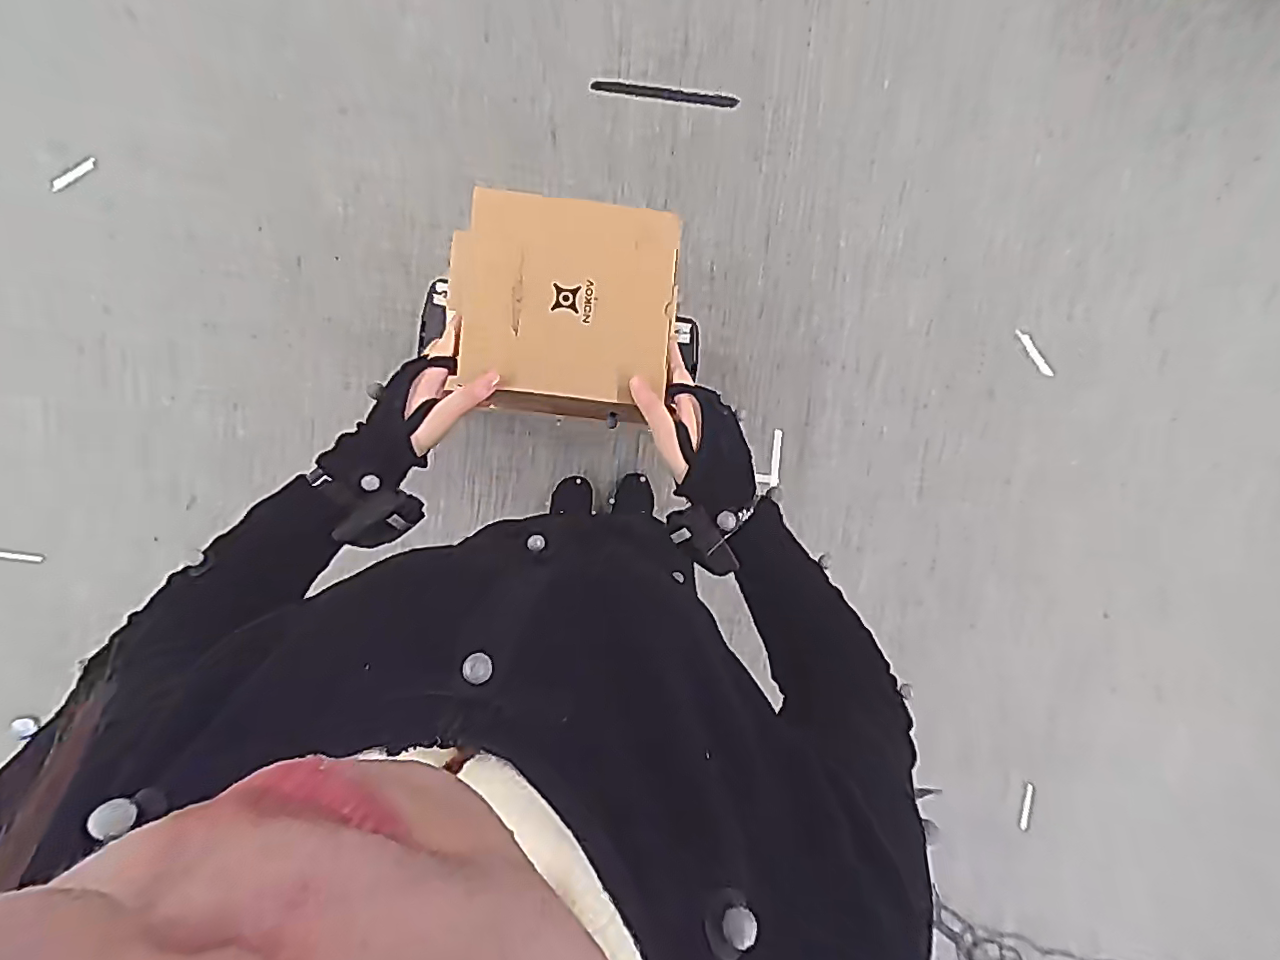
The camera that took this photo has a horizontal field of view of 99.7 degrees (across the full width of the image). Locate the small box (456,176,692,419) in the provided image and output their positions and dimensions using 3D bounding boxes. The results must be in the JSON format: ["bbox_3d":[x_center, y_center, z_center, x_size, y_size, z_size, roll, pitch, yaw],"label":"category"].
[{"bbox_3d":[-0.057,-0.154,0.517,0.179,0.176,0.168,7,90,-3],"label":"small box"}]

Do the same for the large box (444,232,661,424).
[{"bbox_3d":[-0.149,-0.286,1.129,0.408,0.320,0.320,6,93,-1],"label":"large box"}]
